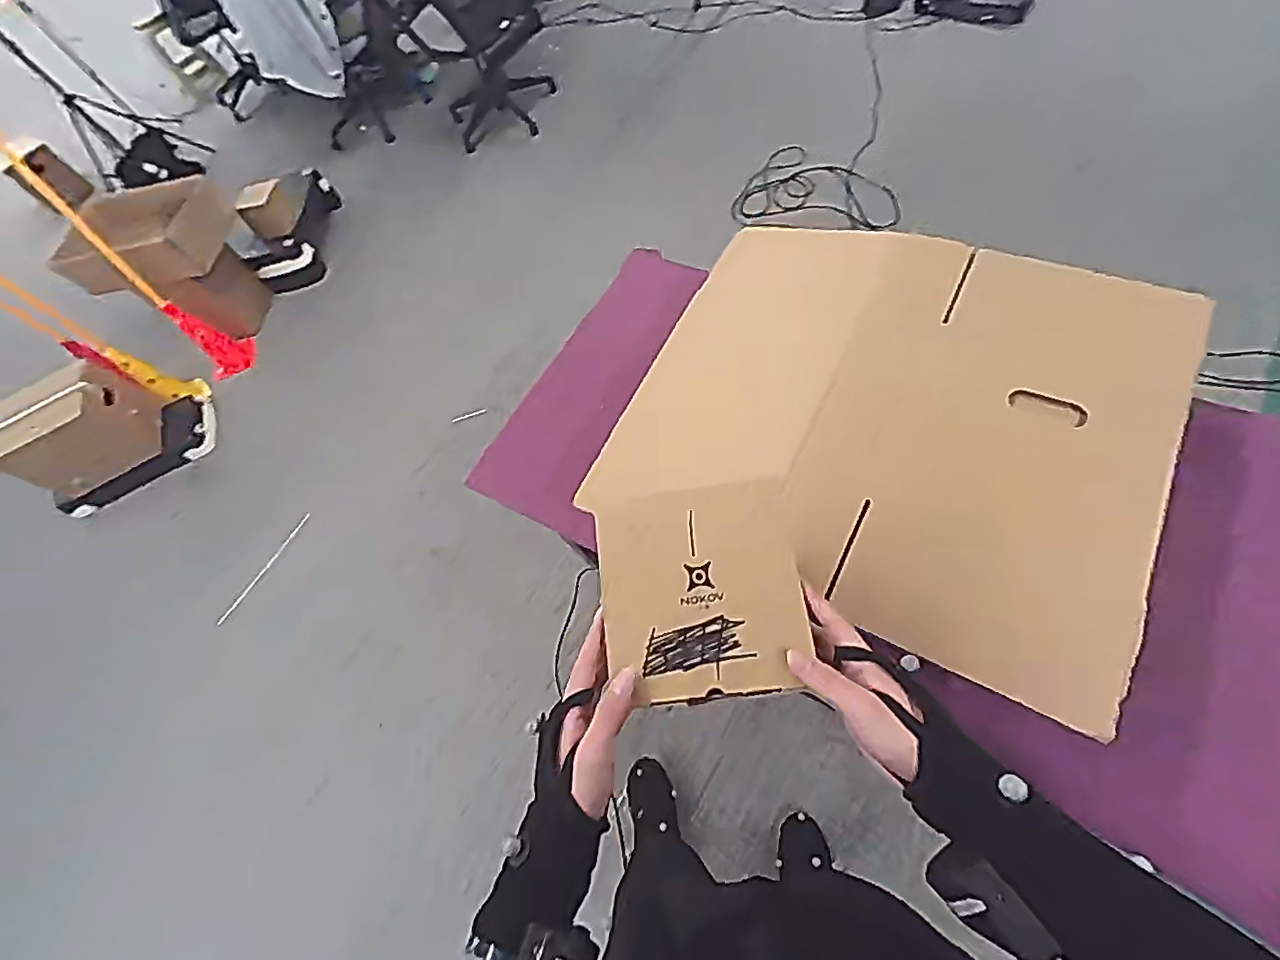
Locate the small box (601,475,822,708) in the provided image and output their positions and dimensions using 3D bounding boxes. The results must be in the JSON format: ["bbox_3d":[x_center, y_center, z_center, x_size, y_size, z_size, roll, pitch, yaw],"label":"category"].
[{"bbox_3d":[0.062,0.111,0.515,0.168,0.176,0.179,-7,70,5],"label":"small box"}]
